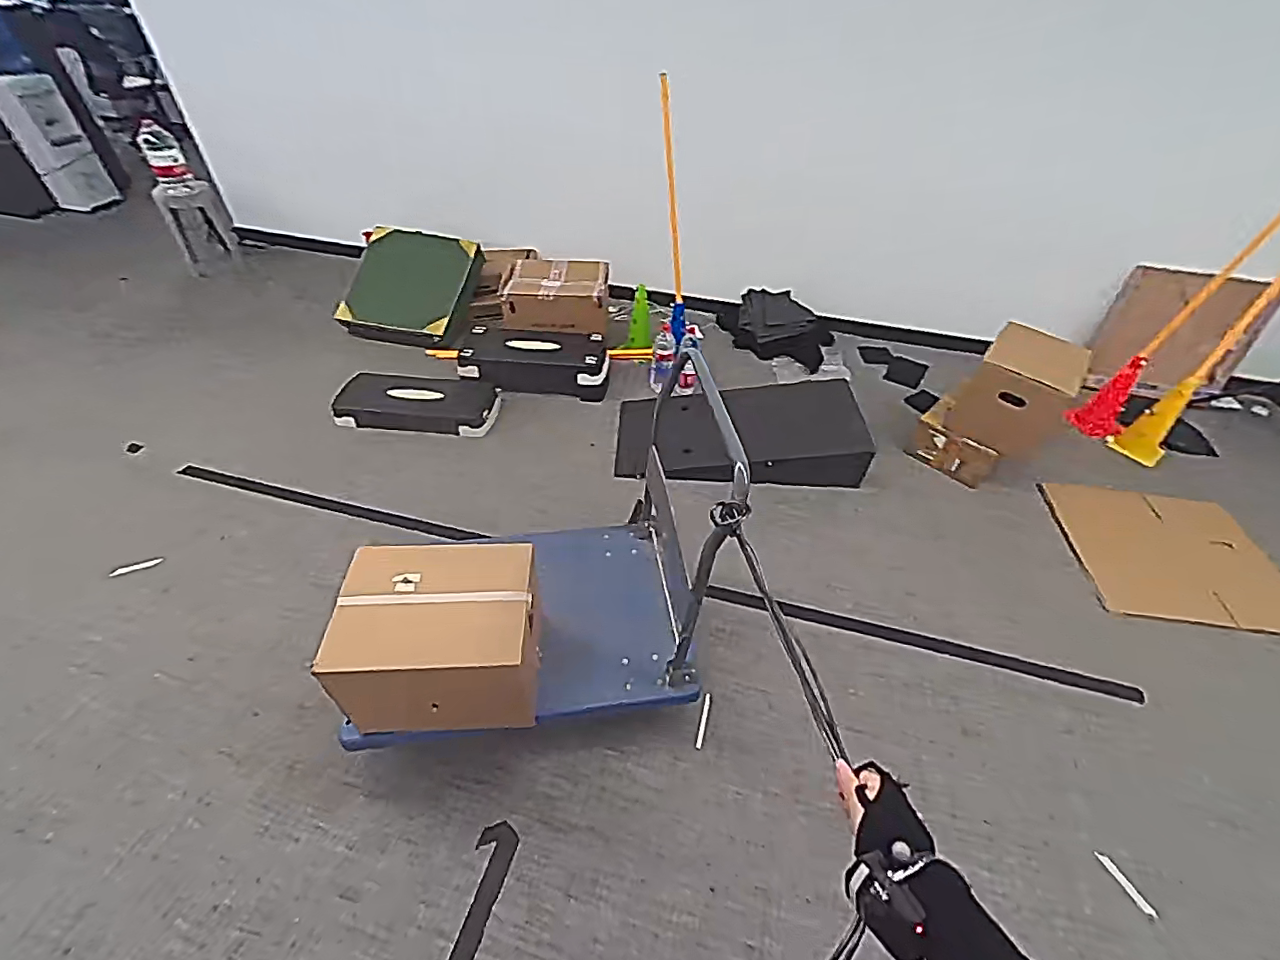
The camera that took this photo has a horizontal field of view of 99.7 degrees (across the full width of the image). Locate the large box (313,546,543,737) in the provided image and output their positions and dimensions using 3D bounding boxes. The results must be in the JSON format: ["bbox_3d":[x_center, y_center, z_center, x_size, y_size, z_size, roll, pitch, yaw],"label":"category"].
[{"bbox_3d":[-0.445,0.376,1.260,0.408,0.320,0.320,-2,43,-4],"label":"large box"}]
